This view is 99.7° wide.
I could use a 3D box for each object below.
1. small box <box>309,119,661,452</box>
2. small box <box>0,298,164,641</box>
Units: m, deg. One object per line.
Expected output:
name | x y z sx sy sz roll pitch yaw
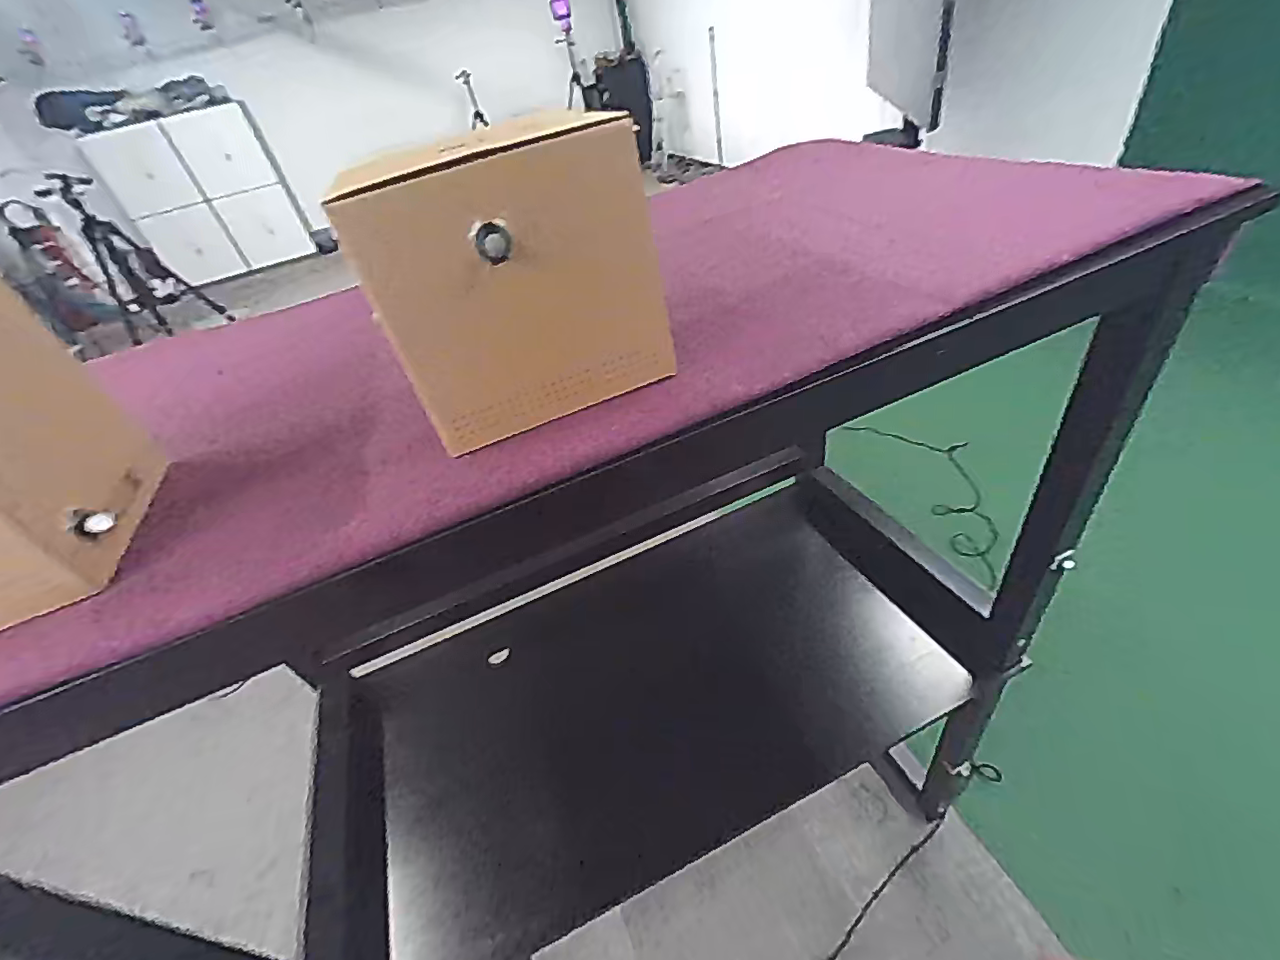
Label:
small box | -0.103 -0.147 0.403 0.179 0.176 0.168 -23 40 -9
small box | -0.458 0.007 0.333 0.179 0.176 0.168 -25 40 -11
